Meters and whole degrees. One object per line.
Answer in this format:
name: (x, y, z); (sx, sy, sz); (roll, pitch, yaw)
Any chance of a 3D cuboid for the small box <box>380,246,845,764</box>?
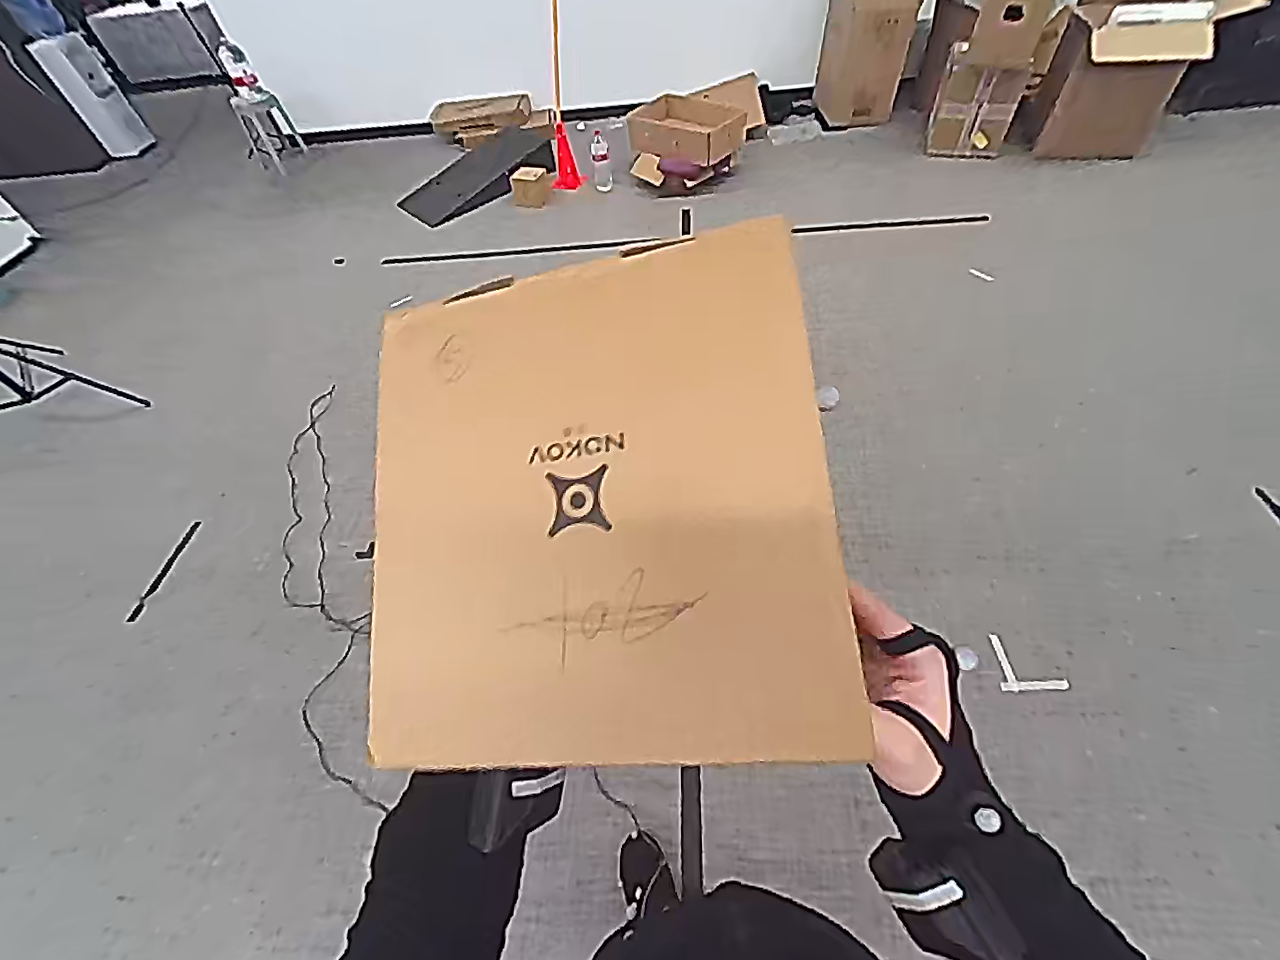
small box: (-0.002, 0.024, 0.273); (0.168, 0.176, 0.179); (-10, 77, 15)
